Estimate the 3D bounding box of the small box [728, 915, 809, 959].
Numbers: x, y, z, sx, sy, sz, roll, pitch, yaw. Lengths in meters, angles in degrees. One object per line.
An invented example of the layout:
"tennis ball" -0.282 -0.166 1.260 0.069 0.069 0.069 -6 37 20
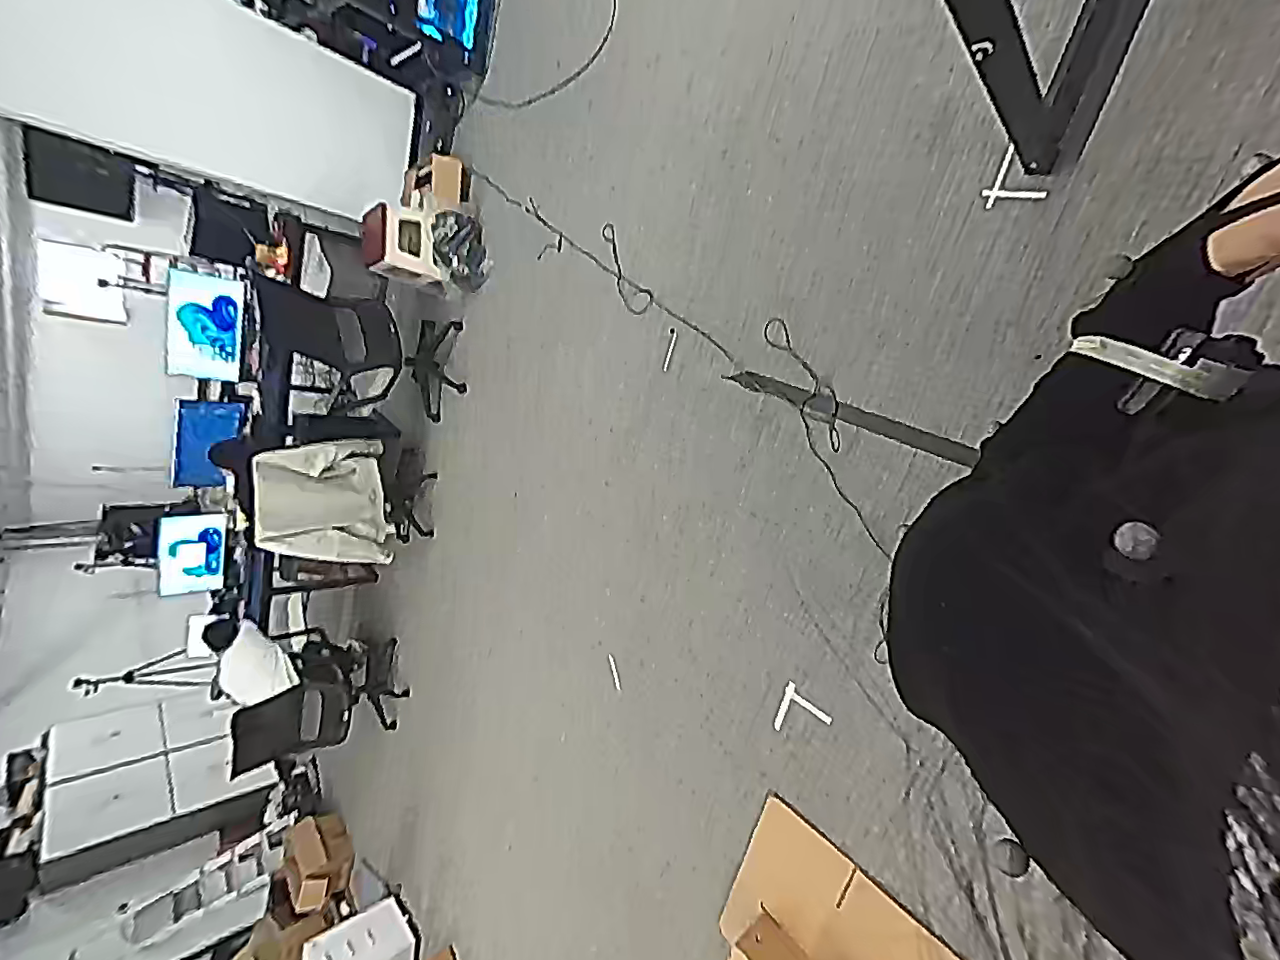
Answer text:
"small box" 0.388 1.494 1.661 0.179 0.176 0.168 23 108 42
